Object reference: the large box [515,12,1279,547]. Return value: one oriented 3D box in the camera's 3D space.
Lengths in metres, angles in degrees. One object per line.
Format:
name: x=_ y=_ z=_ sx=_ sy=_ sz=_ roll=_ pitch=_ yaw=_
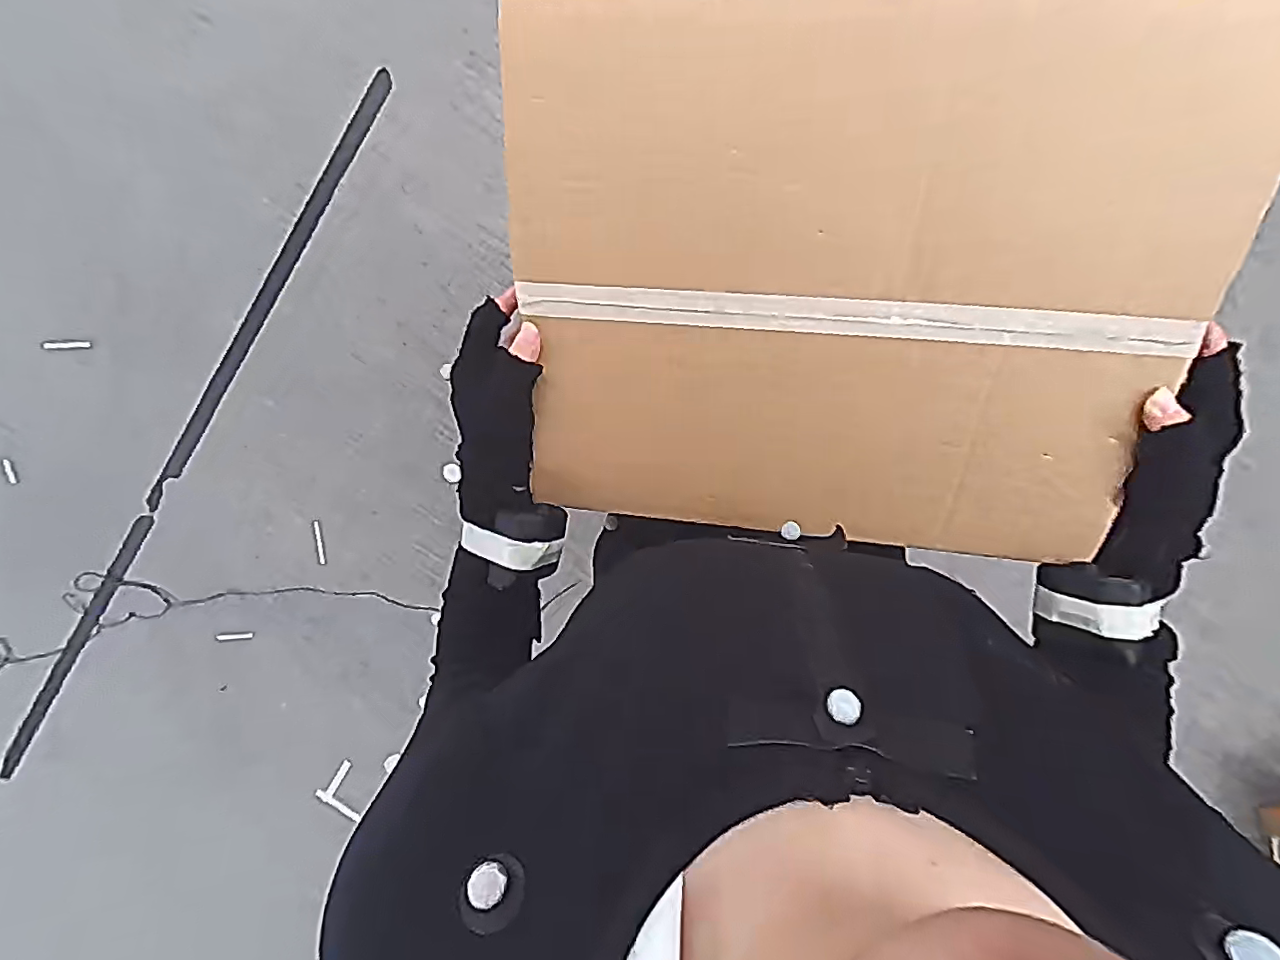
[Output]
large box: x=0.140 y=-0.169 z=0.481 sx=0.408 sy=0.320 sz=0.320 roll=6 pitch=118 yaw=6
